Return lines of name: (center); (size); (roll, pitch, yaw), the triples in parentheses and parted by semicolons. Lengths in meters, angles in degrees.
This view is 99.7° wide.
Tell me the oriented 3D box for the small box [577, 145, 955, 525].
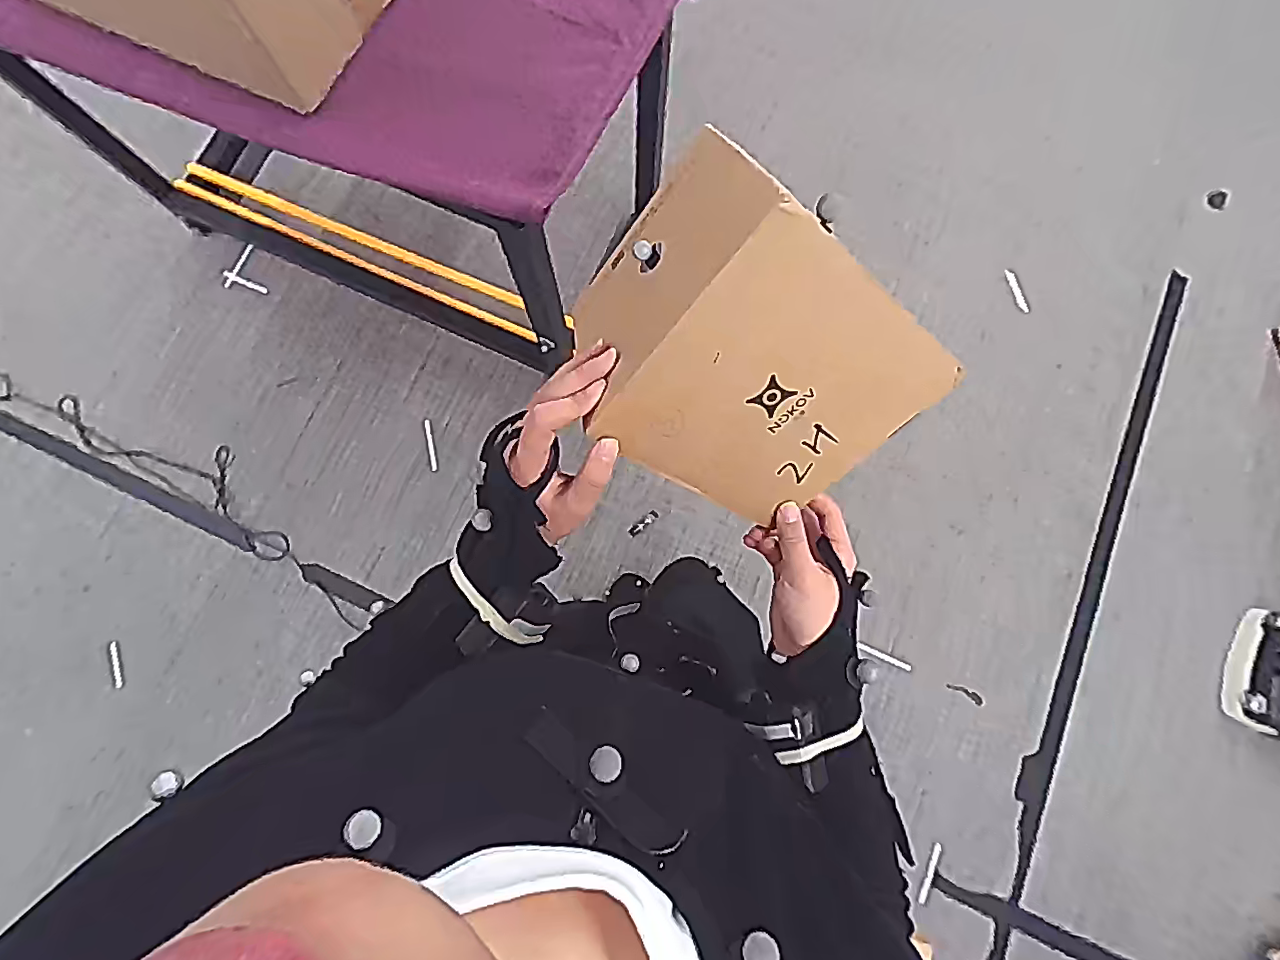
small box: (0.068, -0.104, 0.386); (0.179, 0.176, 0.168); (26, 123, -30)
